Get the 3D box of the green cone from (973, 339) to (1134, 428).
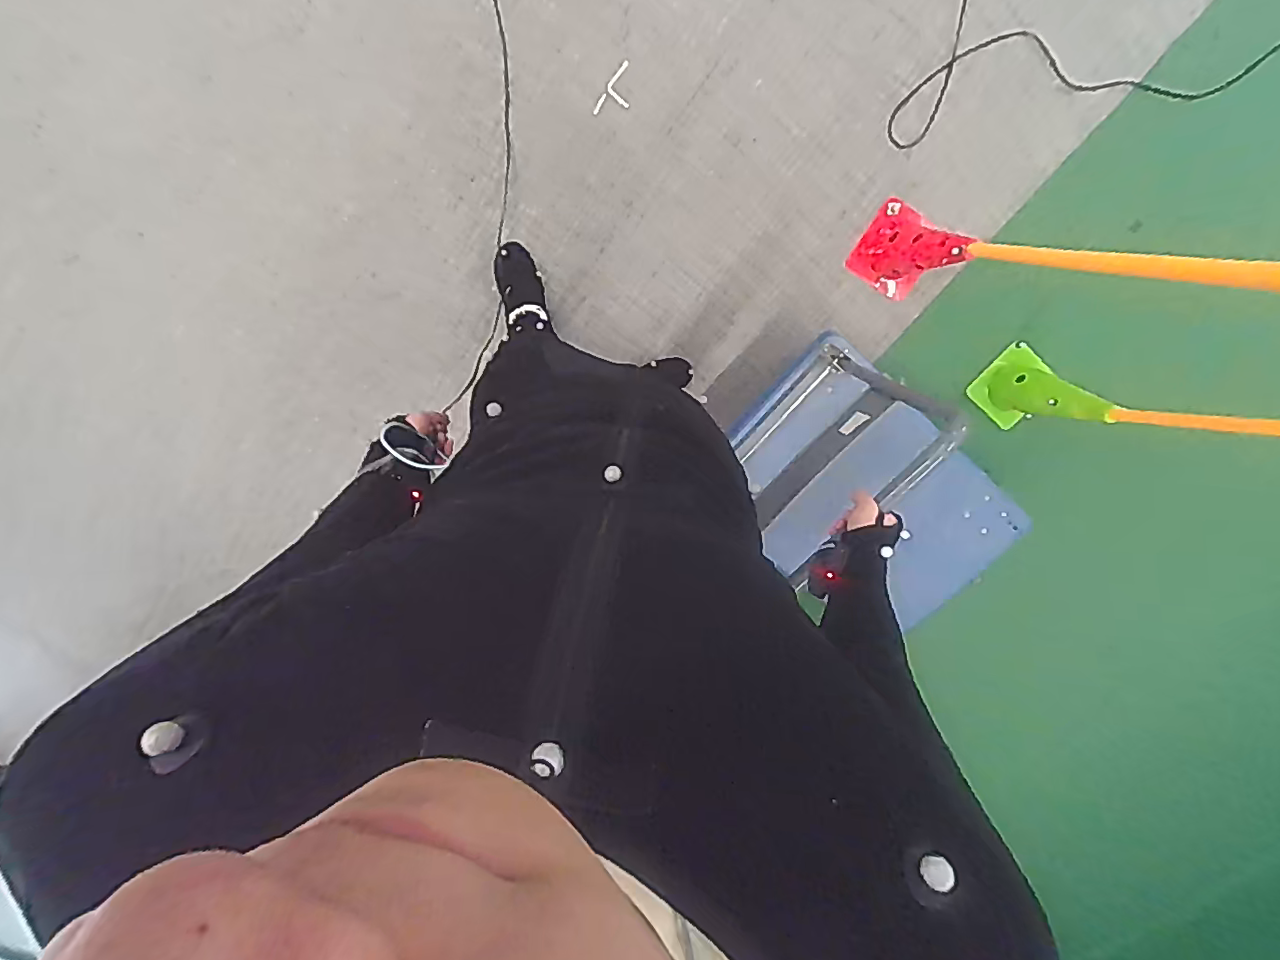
[{"bbox_3d":[1.093,-0.209,1.396,0.202,0.368,0.200,35,107,-15],"label":"green cone"}]
